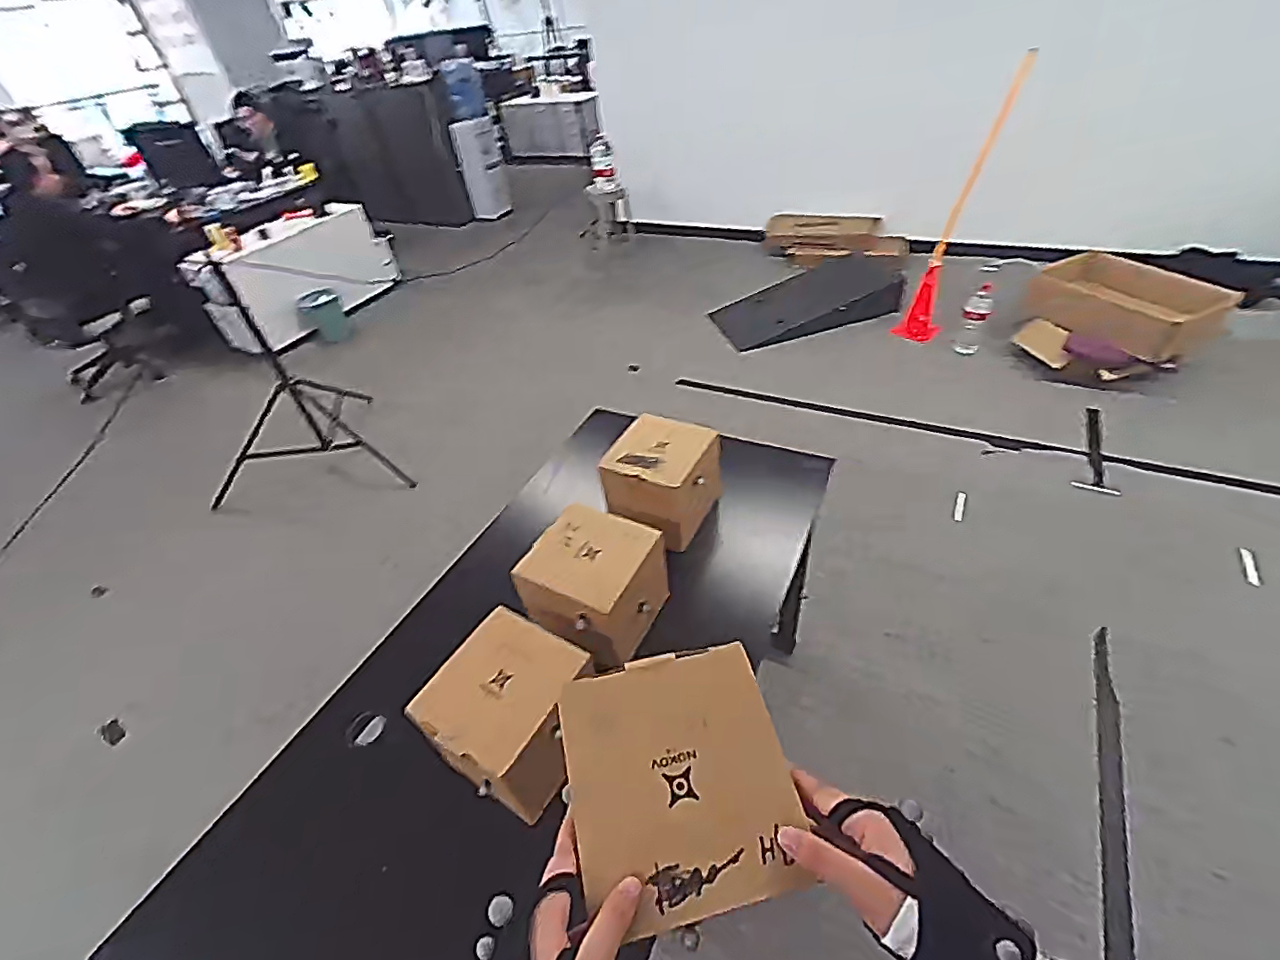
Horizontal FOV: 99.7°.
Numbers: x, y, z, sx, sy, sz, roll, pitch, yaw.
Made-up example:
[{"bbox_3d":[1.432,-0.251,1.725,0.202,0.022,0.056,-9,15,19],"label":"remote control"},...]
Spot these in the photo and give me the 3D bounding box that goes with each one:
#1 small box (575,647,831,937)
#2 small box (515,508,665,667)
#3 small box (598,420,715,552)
[{"bbox_3d":[0.040,0.277,0.484,0.168,0.176,0.179,-10,53,-6],"label":"small box"},{"bbox_3d":[-0.070,0.179,0.891,0.179,0.176,0.168,16,47,25],"label":"small box"},{"bbox_3d":[0.043,0.011,1.057,0.168,0.176,0.179,16,47,25],"label":"small box"}]
